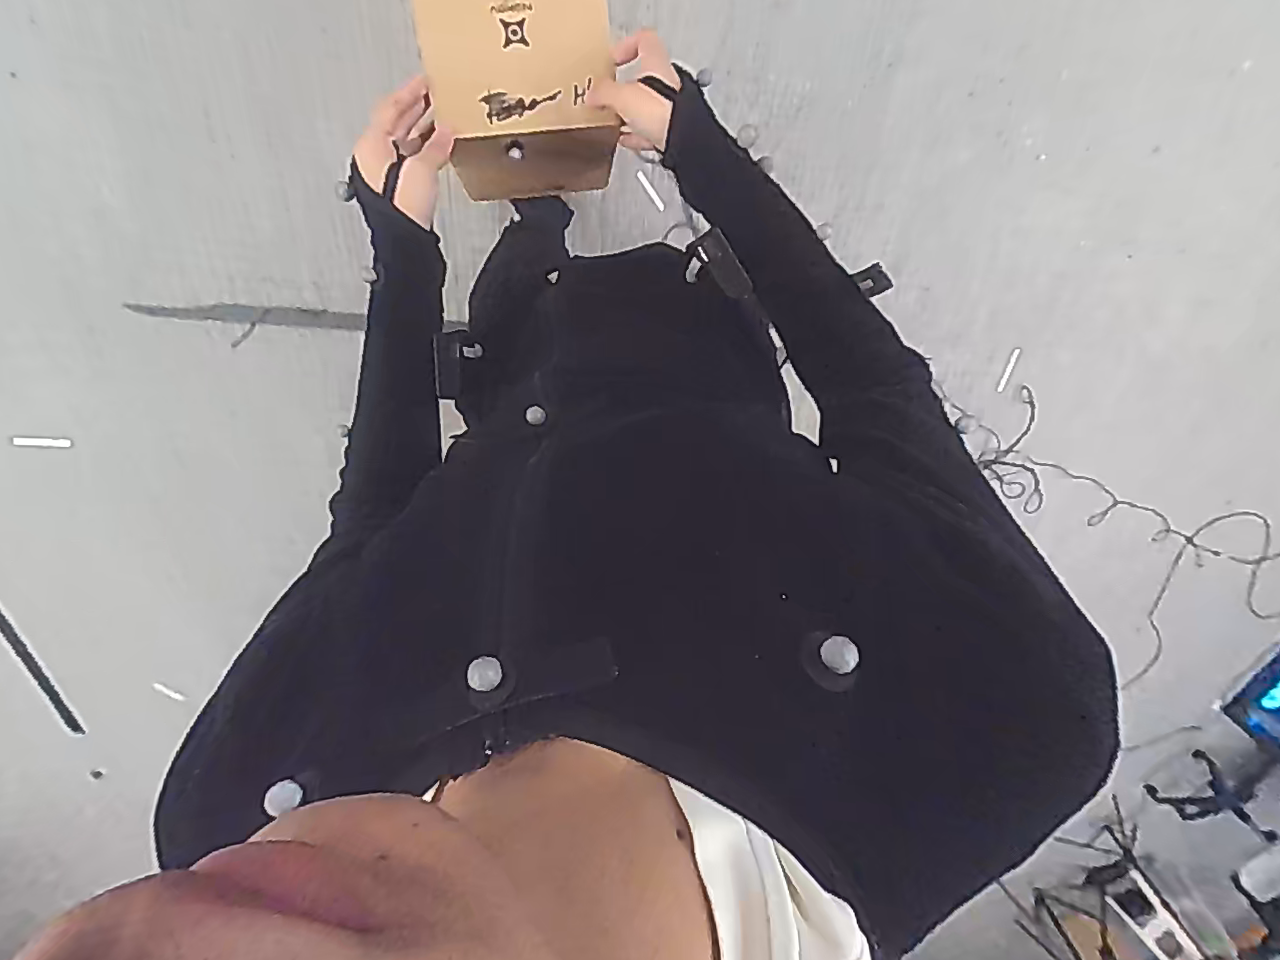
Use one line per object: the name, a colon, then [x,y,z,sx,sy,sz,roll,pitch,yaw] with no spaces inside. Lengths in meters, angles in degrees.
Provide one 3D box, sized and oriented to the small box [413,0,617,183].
small box: [-0.119,-0.420,0.531,0.168,0.176,0.179,-8,101,-6]
